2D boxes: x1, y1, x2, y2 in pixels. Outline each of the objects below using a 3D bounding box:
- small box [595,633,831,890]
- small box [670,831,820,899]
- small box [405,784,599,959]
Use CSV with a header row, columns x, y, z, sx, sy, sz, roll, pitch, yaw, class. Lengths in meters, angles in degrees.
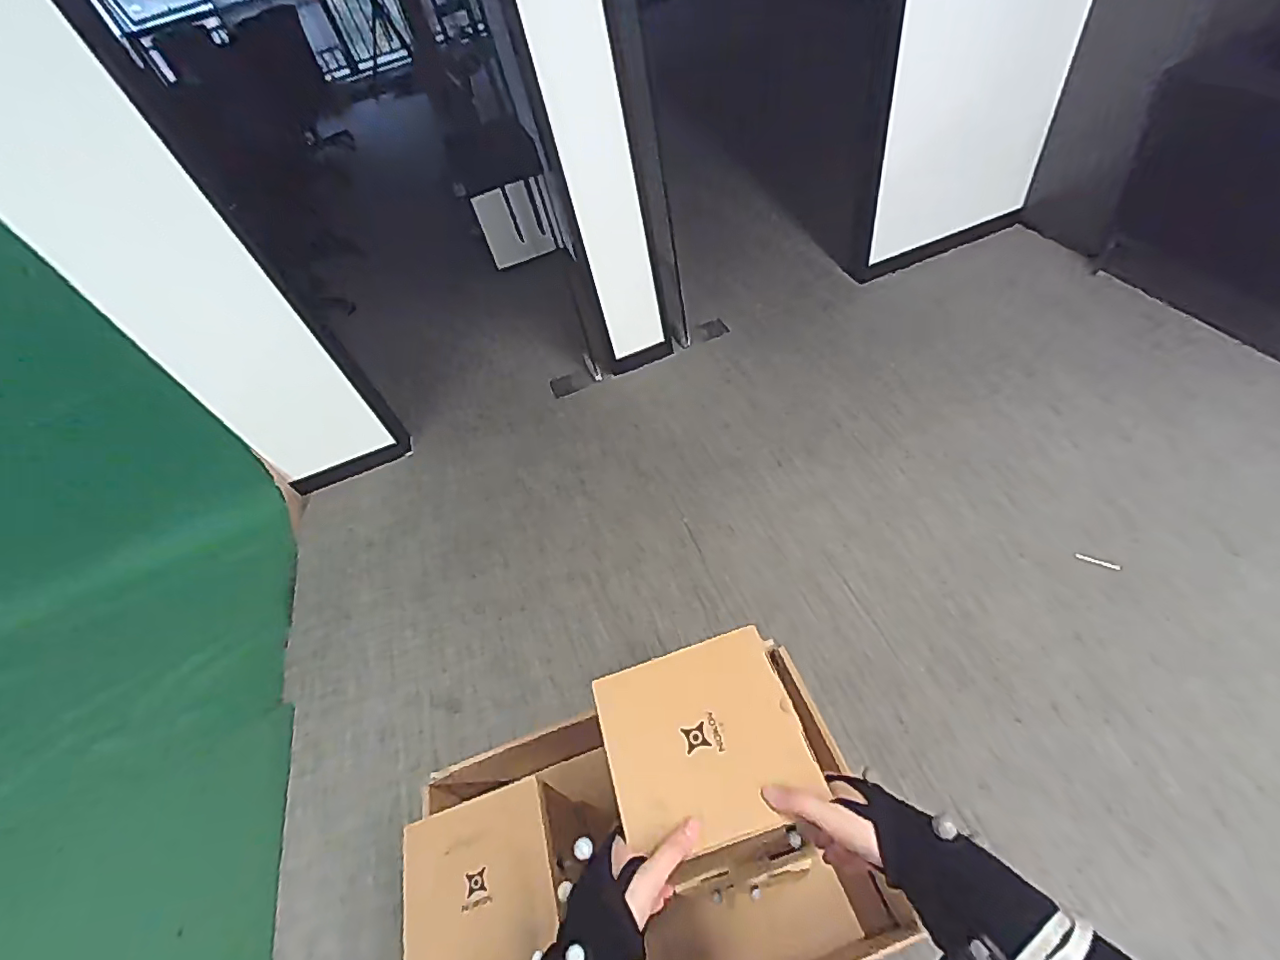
x,y,z,sx,sy,sz,roll,pitch,yaw,class
0.071,0.288,0.546,0.179,0.176,0.168,-18,49,-2,small box
0.106,0.390,0.668,0.168,0.176,0.179,-18,48,-1,small box
-0.158,0.495,0.642,0.168,0.176,0.179,-19,48,-3,small box
